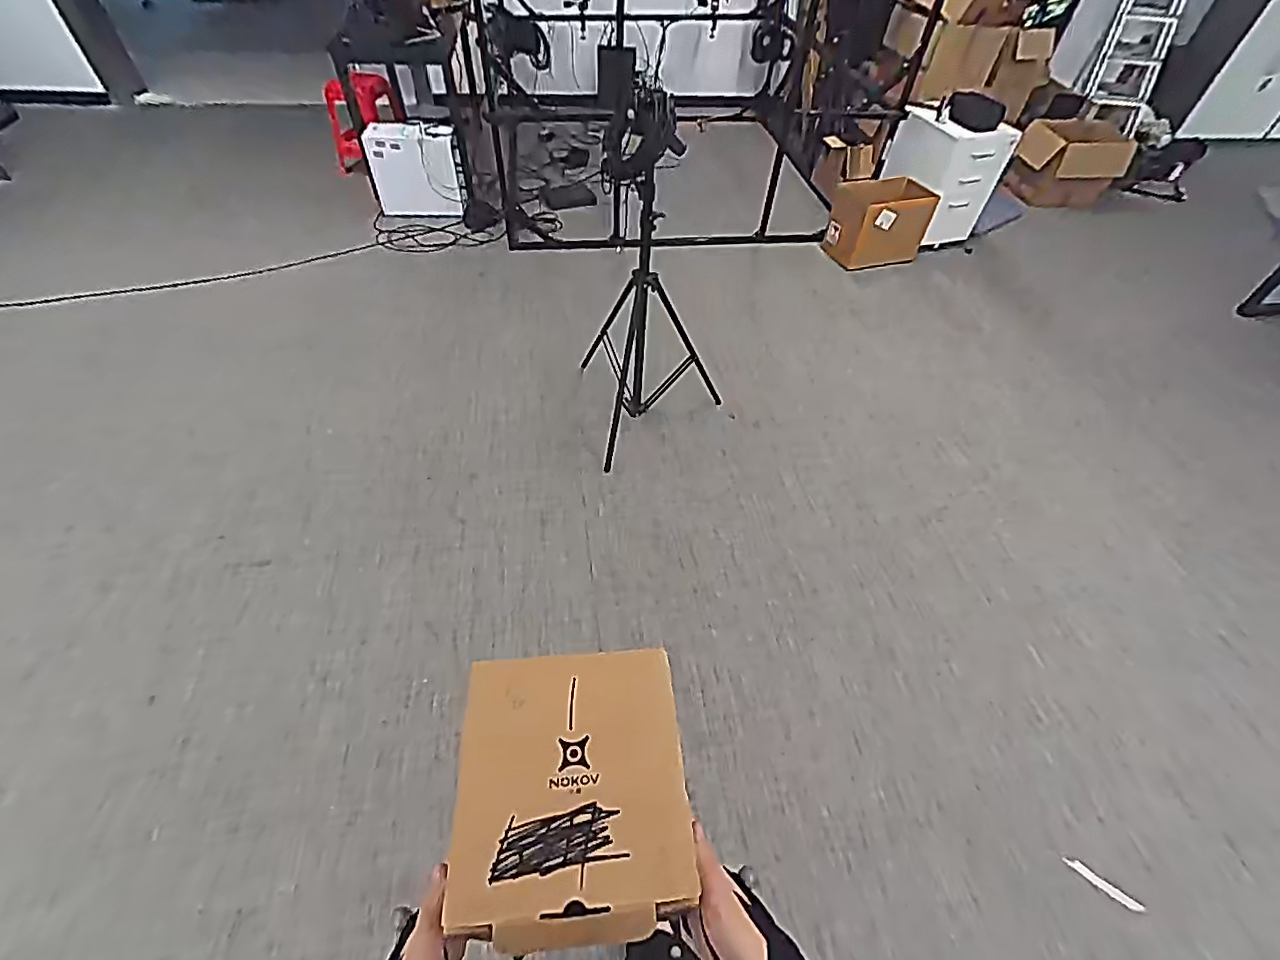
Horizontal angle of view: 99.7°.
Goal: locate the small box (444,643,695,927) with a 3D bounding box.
[{"bbox_3d":[-0.053,0.261,0.459,0.168,0.176,0.179,-2,47,-6],"label":"small box"}]
